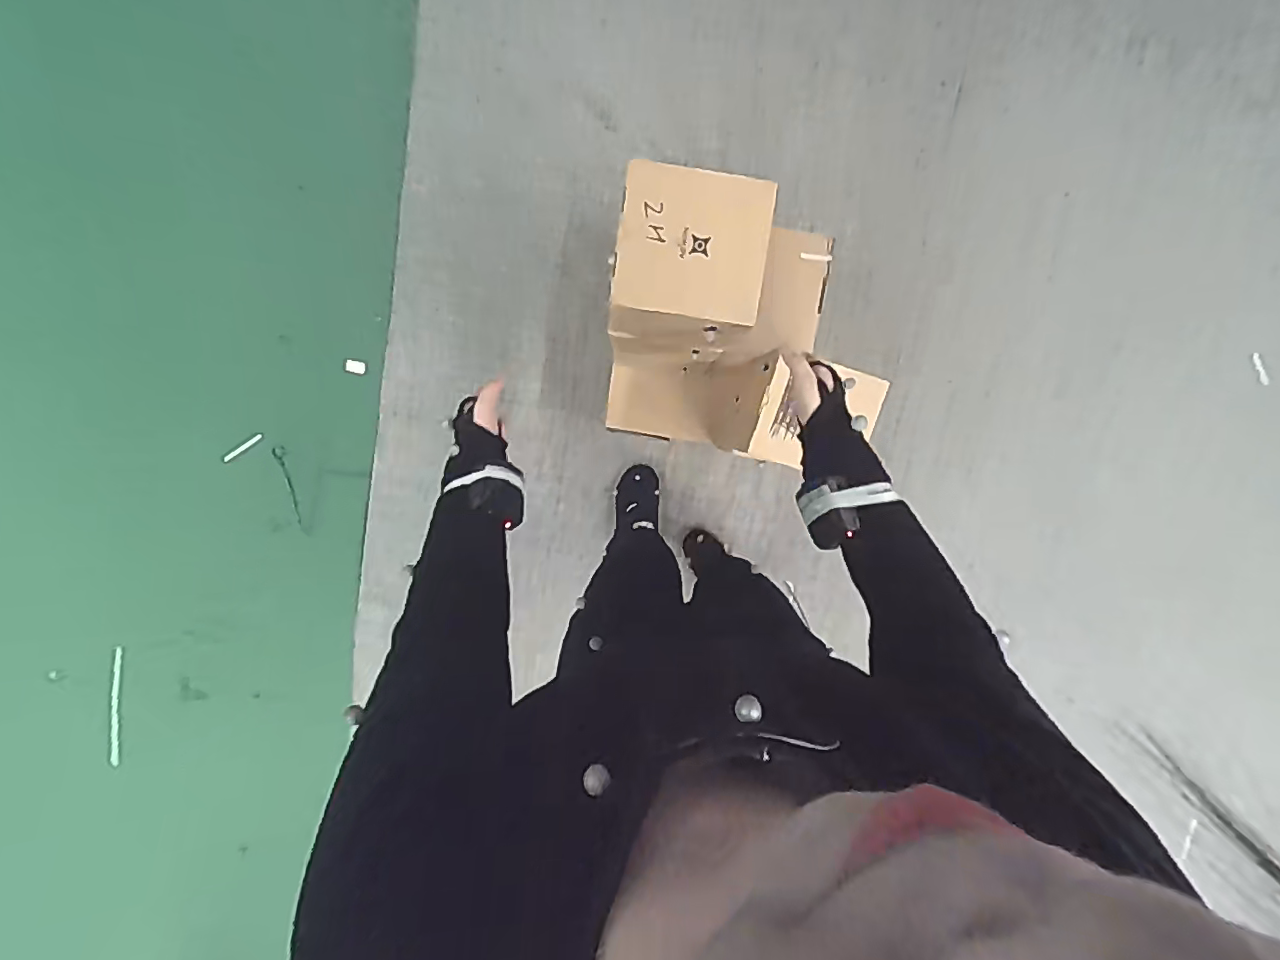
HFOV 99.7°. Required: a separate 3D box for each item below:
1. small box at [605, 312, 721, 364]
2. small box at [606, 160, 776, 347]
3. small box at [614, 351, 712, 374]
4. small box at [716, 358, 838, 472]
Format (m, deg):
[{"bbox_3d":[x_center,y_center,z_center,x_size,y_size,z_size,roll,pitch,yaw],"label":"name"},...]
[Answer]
[{"bbox_3d":[0.043,-0.288,0.868,0.179,0.176,0.168,8,94,-3],"label":"small box"},{"bbox_3d":[0.056,-0.277,0.703,0.179,0.176,0.168,9,94,-2],"label":"small box"},{"bbox_3d":[0.047,-0.300,1.030,0.179,0.176,0.168,7,95,-1],"label":"small box"},{"bbox_3d":[0.255,-0.123,1.049,0.168,0.176,0.179,13,95,-3],"label":"small box"}]
